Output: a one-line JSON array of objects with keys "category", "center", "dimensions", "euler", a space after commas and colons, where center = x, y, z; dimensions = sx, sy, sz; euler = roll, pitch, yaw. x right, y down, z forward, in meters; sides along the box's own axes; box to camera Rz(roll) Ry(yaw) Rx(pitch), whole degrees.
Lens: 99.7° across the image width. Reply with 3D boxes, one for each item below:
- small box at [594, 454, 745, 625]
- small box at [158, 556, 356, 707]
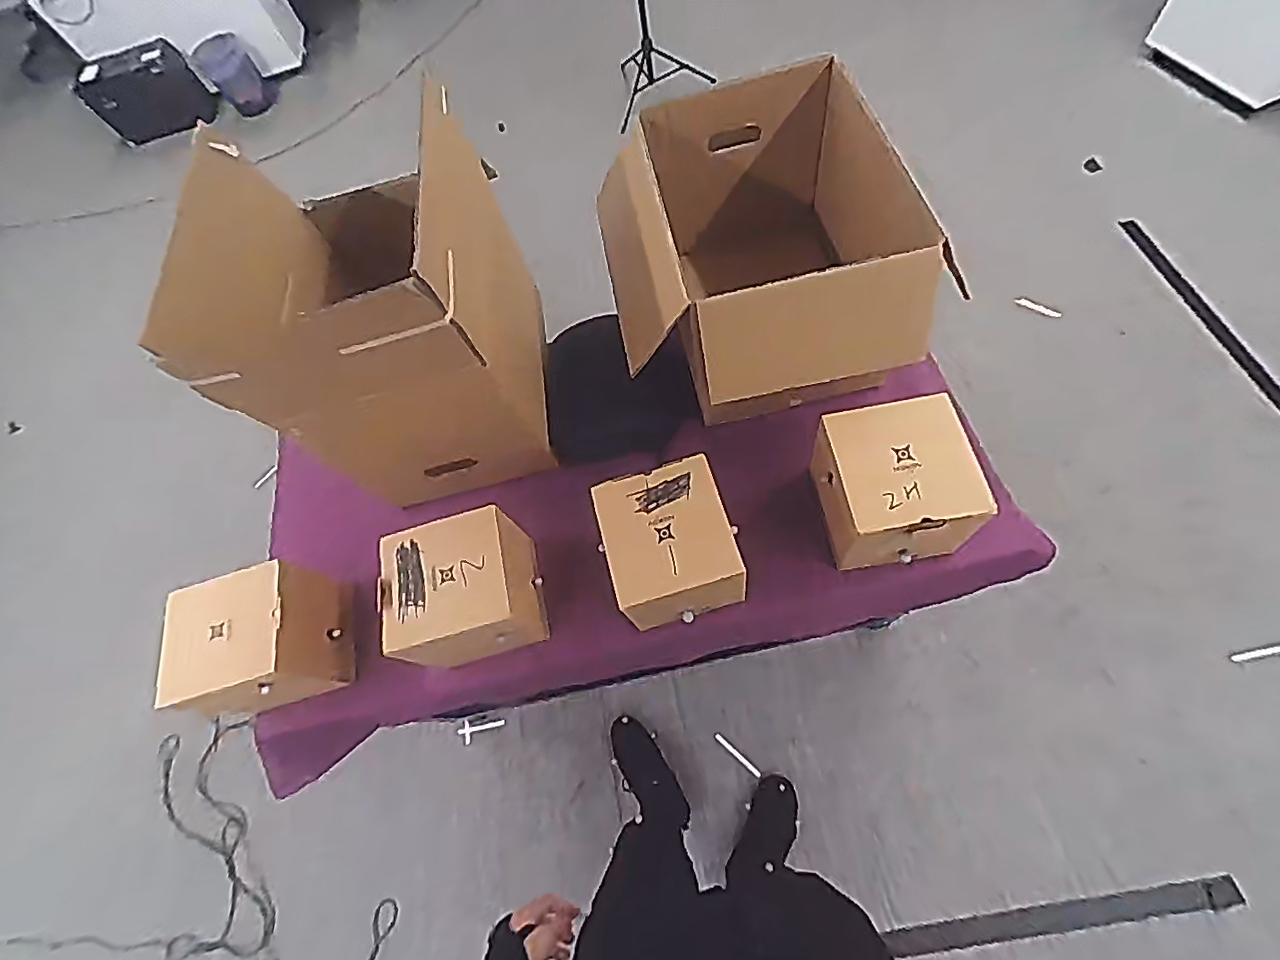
[{"category": "small box", "center": [0.045, 0.092, 0.773], "dimensions": [0.168, 0.176, 0.179], "euler": [-17, 65, 4]}, {"category": "small box", "center": [-0.565, 0.238, 0.822], "dimensions": [0.179, 0.176, 0.168], "euler": [-17, 64, 1]}]
